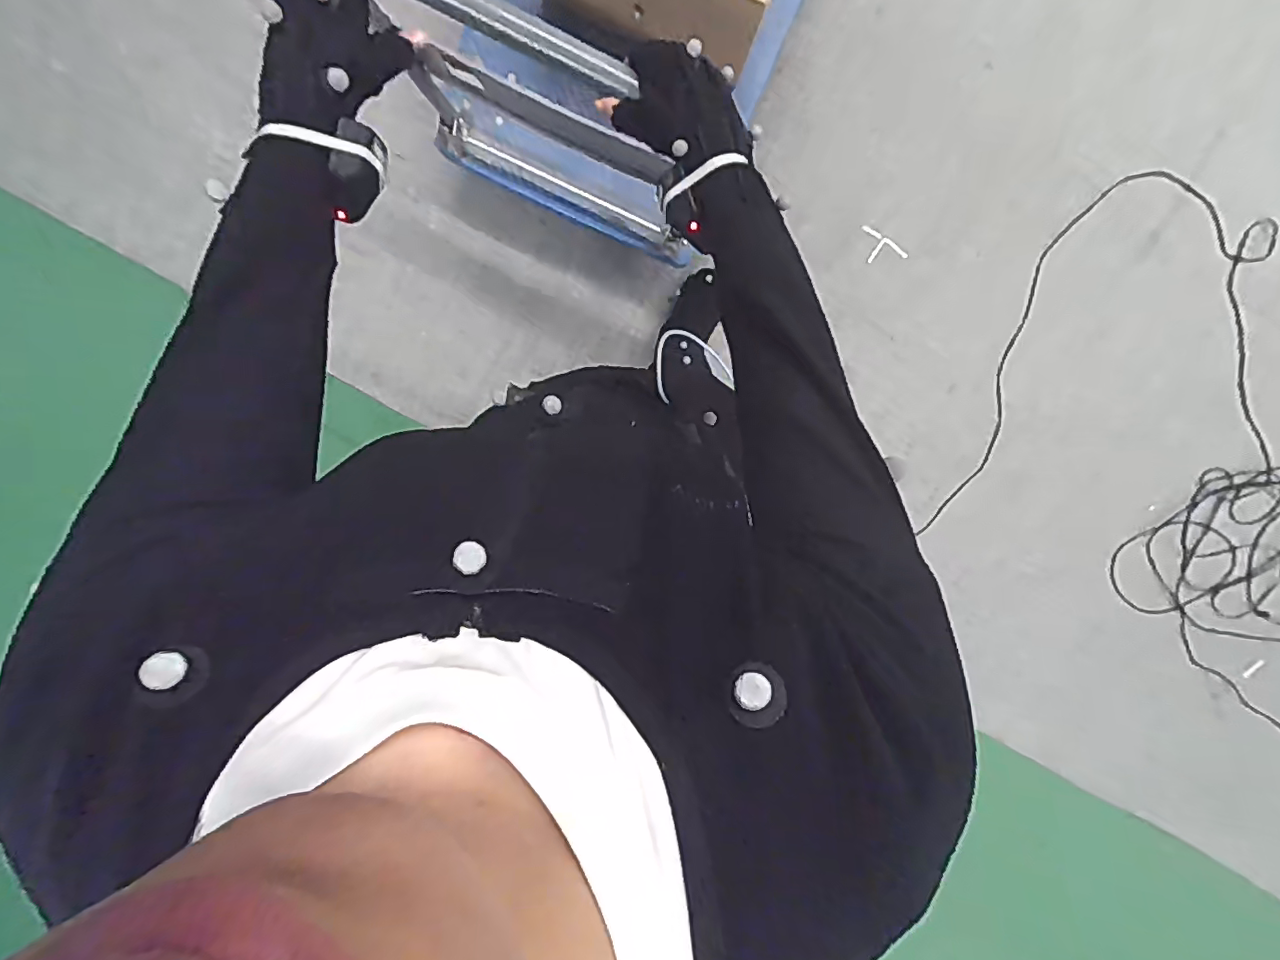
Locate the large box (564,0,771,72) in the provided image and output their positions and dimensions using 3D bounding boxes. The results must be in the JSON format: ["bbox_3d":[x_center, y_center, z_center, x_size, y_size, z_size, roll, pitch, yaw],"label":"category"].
[{"bbox_3d":[0.058,-0.949,0.864,0.408,0.320,0.320,20,107,-5],"label":"large box"}]
